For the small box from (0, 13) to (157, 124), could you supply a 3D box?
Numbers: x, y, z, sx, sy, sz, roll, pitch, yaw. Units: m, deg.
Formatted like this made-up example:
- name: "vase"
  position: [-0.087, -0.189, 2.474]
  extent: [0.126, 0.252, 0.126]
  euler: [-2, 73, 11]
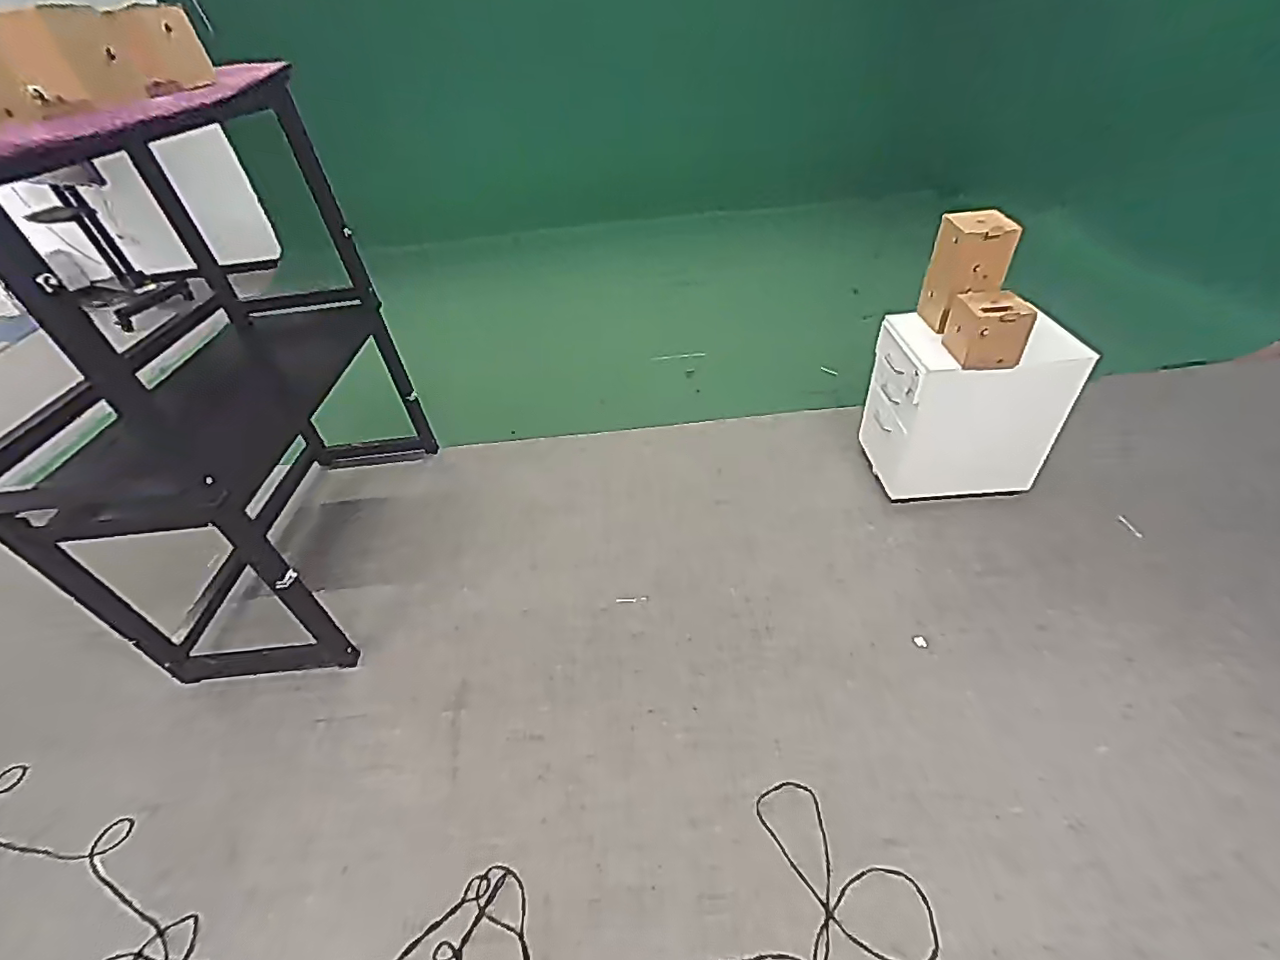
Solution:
- name: "small box"
  position: [-1.192, -0.871, 1.148]
  extent: [0.168, 0.176, 0.179]
  euler: [-7, 41, 1]

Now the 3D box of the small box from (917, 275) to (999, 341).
- name: "small box"
  position: [1.079, -0.595, 1.853]
  extent: [0.168, 0.176, 0.179]
  euler: [-4, 41, 2]

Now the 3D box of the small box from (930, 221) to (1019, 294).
- name: "small box"
  position: [1.067, -0.717, 1.746]
  extent: [0.168, 0.176, 0.179]
  euler: [-3, 43, 3]

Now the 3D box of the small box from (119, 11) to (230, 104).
- name: "small box"
  position: [-1.232, -1.097, 1.411]
  extent: [0.168, 0.176, 0.179]
  euler: [-6, 41, 4]

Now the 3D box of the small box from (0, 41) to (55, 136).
- name: "small box"
  position: [-1.170, -0.667, 0.901]
  extent: [0.179, 0.176, 0.168]
  euler: [-6, 39, 0]
